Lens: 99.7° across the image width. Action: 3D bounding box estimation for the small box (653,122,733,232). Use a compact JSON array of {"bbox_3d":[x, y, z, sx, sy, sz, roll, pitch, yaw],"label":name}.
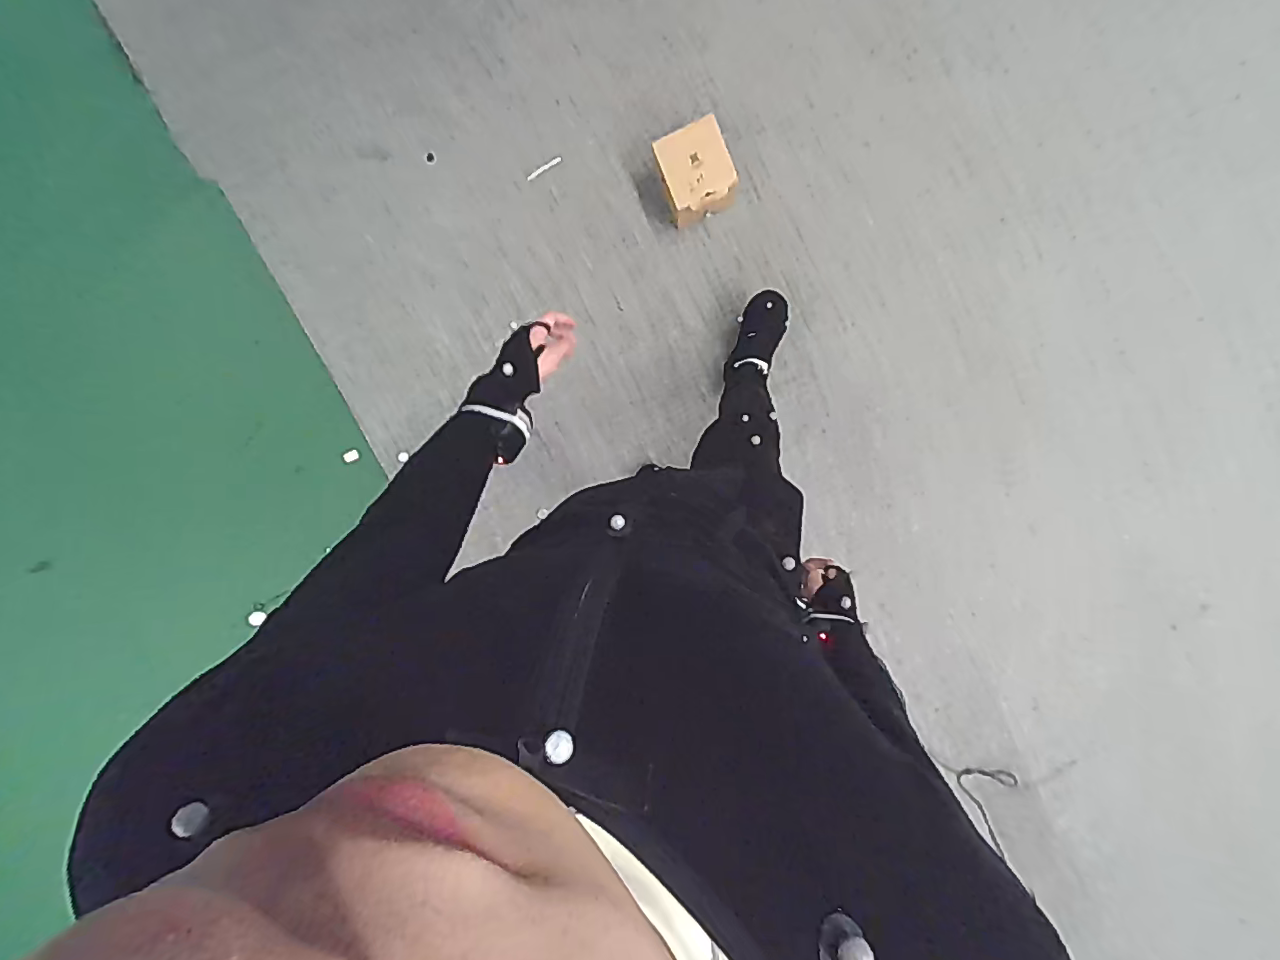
[{"bbox_3d":[0.138,-0.777,1.405,0.168,0.176,0.179,-15,98,9],"label":"small box"}]
